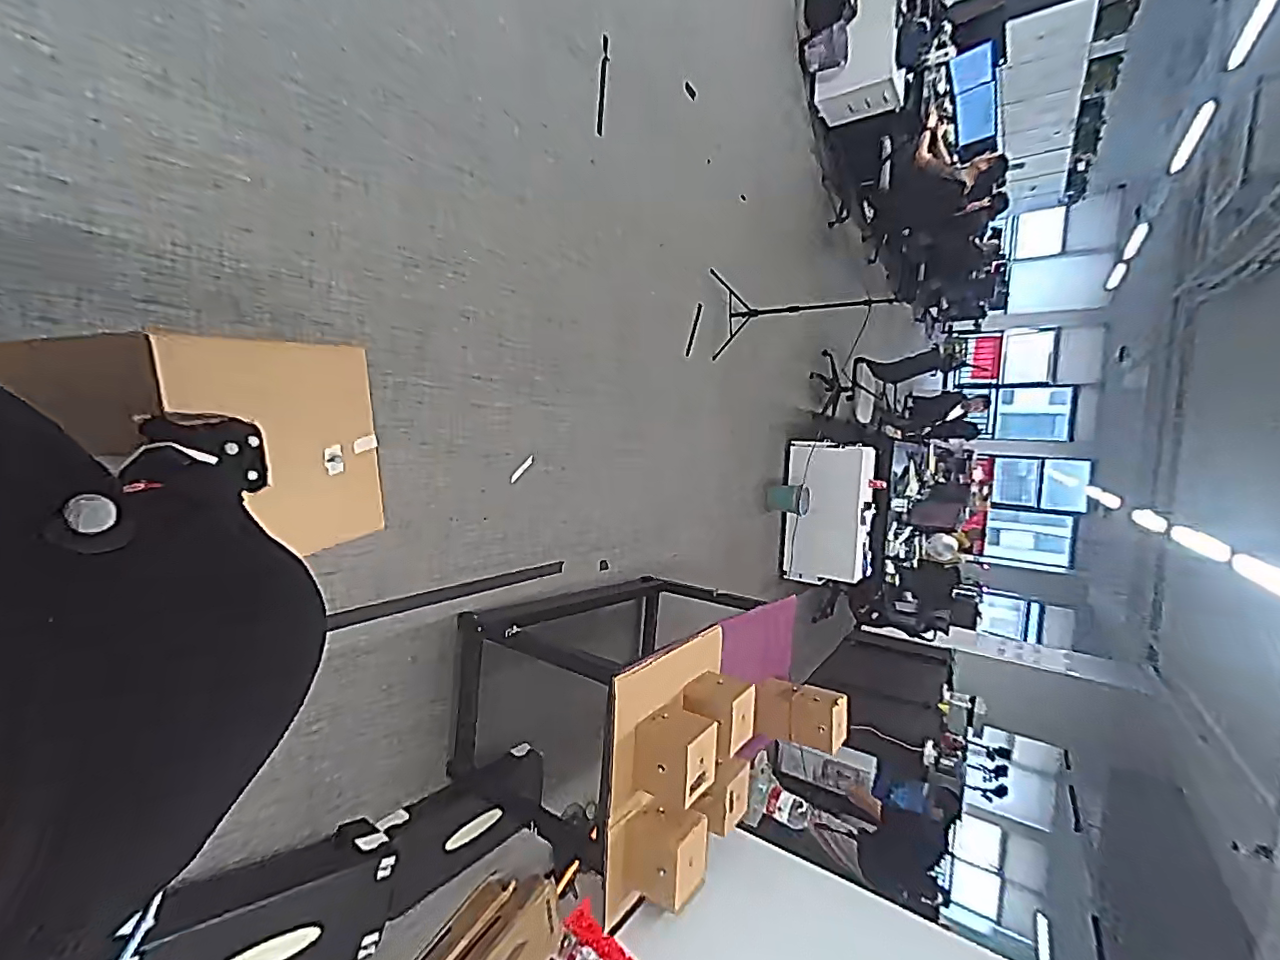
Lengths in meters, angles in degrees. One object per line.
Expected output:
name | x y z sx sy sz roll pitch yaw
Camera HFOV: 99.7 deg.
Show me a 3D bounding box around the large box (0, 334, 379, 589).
large box | -0.690 -0.046 0.840 0.320 0.408 0.320 -27 118 -69
